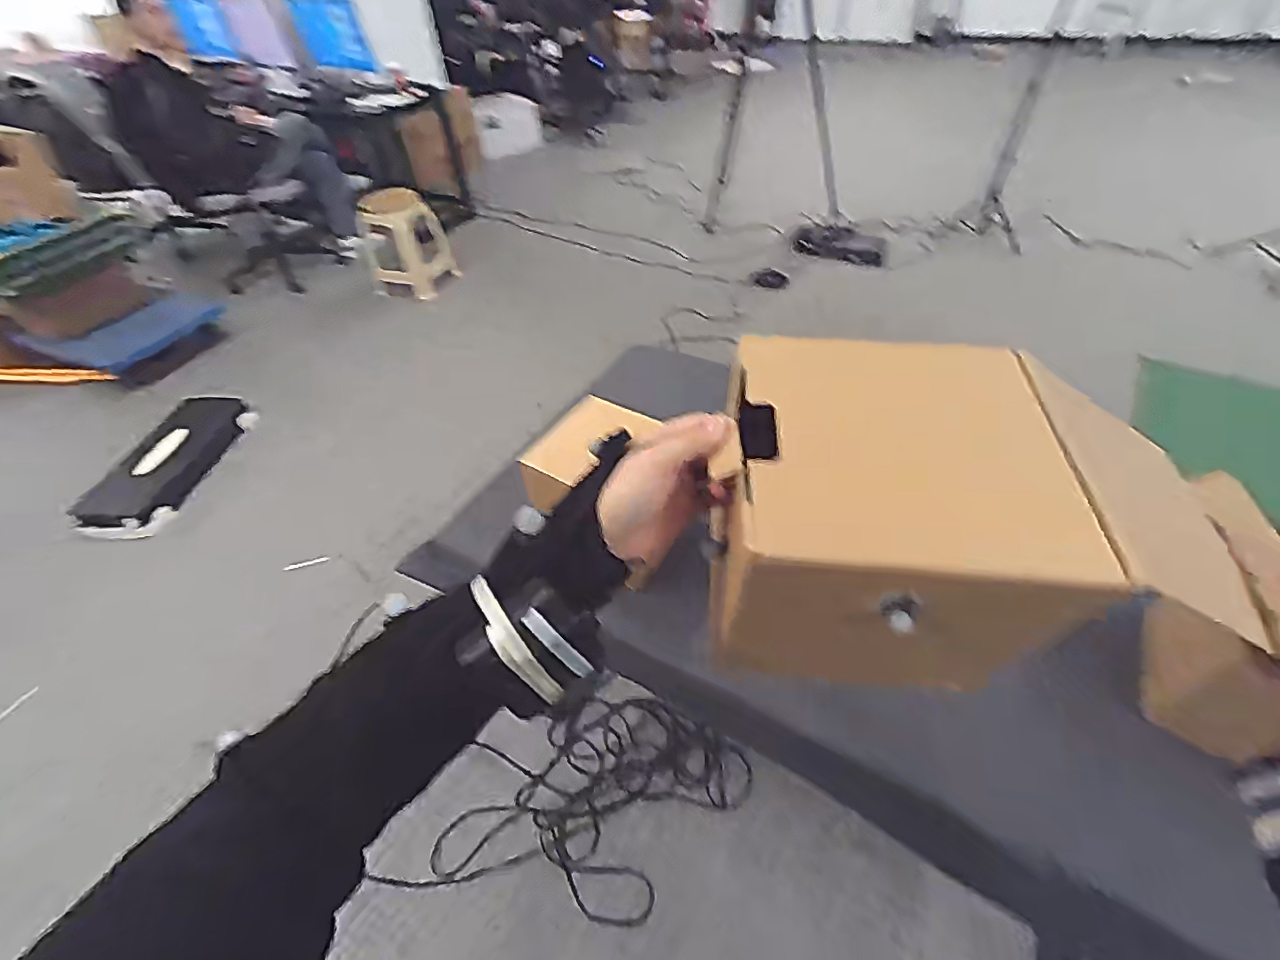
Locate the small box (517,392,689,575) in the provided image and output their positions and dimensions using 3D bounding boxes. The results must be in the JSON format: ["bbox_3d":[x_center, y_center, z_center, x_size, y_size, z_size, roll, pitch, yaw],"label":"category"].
[{"bbox_3d":[-0.045,0.006,0.775,0.179,0.176,0.168,24,52,24],"label":"small box"}]
